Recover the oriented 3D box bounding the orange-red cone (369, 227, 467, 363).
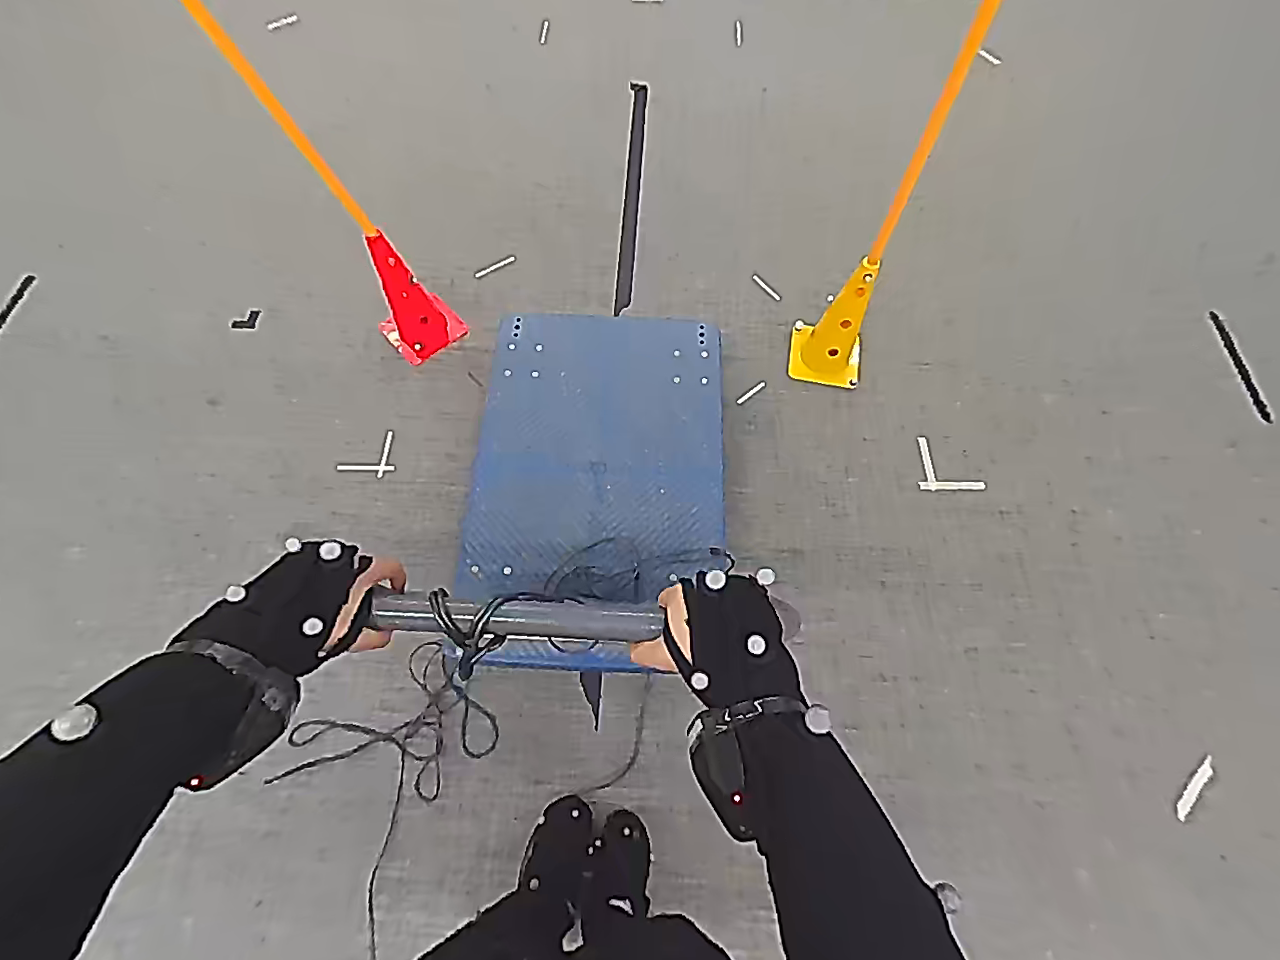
[{"bbox_3d":[-0.634,-0.520,1.450,0.199,0.360,0.198,-39,73,-17],"label":"orange-red cone"}]
